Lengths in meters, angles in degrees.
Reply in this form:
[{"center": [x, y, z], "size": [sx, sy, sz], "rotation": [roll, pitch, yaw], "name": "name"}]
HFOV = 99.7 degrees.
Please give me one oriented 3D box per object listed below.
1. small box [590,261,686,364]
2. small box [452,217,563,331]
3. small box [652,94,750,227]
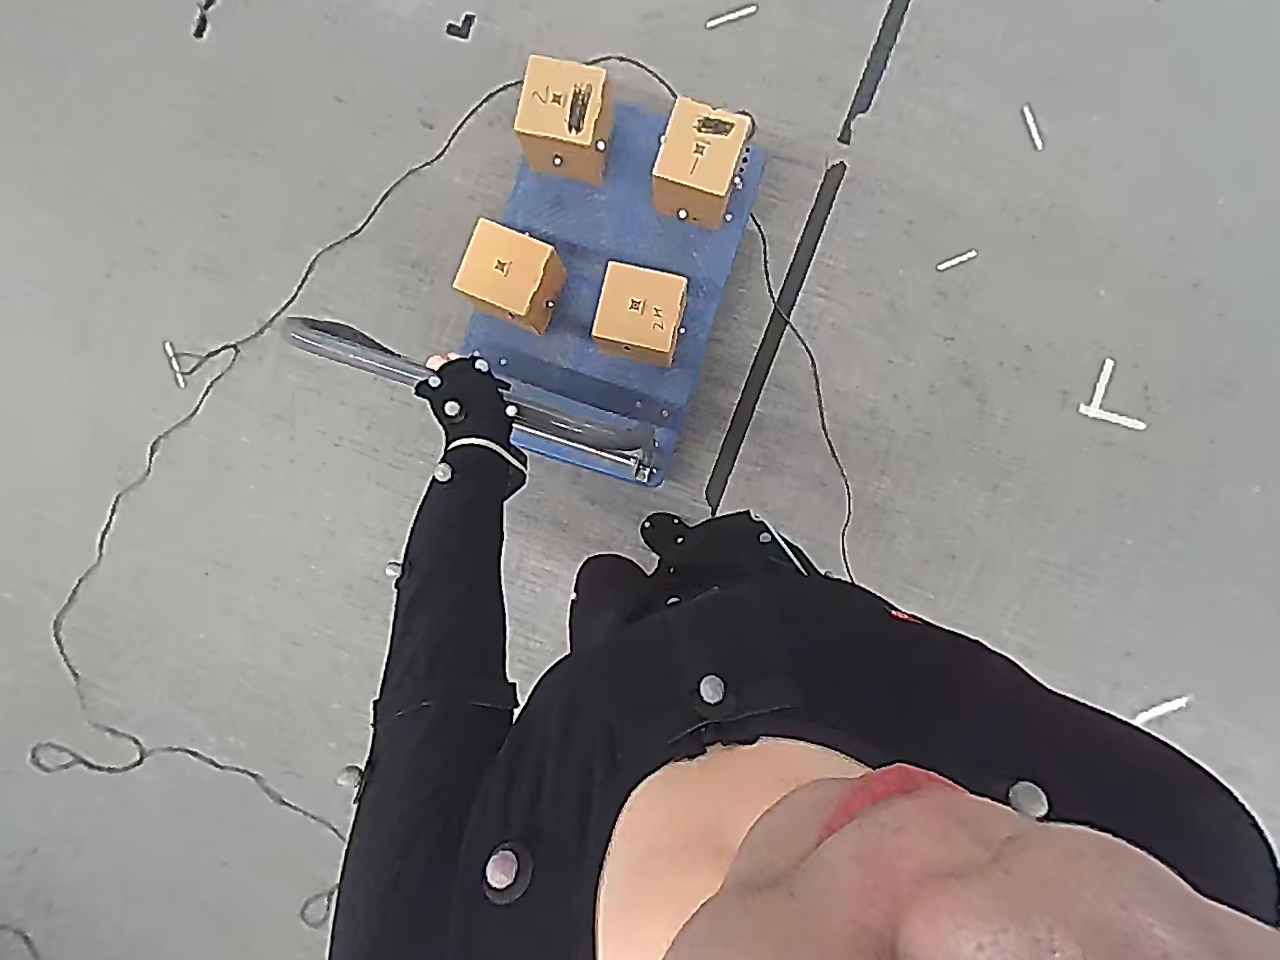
[{"center": [0.000, -0.373, 1.233], "size": [0.179, 0.176, 0.168], "rotation": [14, 92, 3], "name": "small box"}, {"center": [-0.296, -0.464, 1.248], "size": [0.179, 0.176, 0.168], "rotation": [22, 91, 1], "name": "small box"}, {"center": [0.131, -0.710, 1.220], "size": [0.168, 0.176, 0.179], "rotation": [19, 93, 3], "name": "small box"}]
